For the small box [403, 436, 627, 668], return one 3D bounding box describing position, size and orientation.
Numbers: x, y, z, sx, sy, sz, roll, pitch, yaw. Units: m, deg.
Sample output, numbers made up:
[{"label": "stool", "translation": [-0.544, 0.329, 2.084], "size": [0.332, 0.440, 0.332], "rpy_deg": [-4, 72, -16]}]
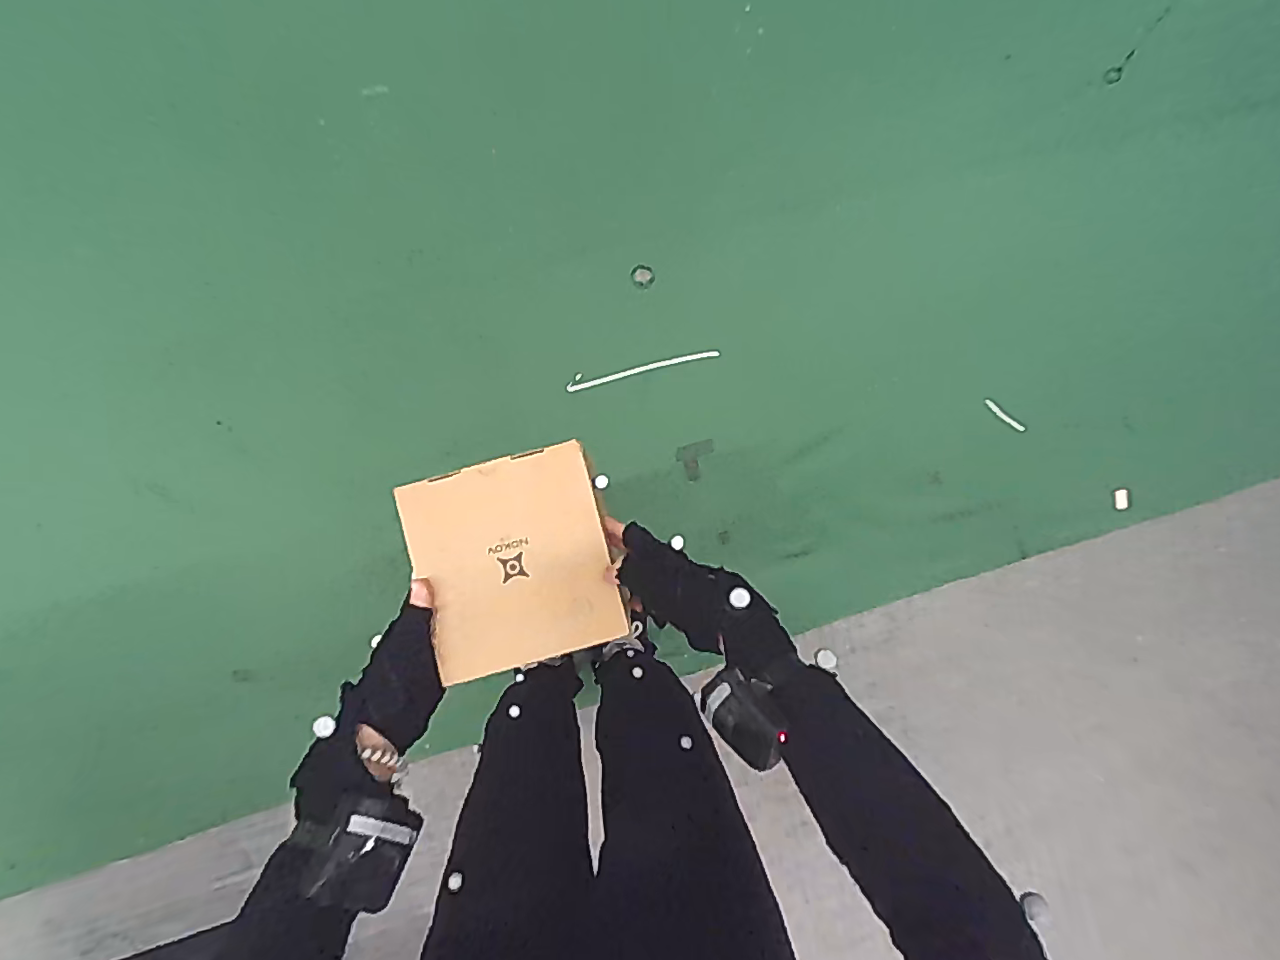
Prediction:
[{"label": "small box", "translation": [-0.111, 0.065, 0.556], "size": [0.168, 0.176, 0.179], "rpy_deg": [-16, 87, -2]}]
